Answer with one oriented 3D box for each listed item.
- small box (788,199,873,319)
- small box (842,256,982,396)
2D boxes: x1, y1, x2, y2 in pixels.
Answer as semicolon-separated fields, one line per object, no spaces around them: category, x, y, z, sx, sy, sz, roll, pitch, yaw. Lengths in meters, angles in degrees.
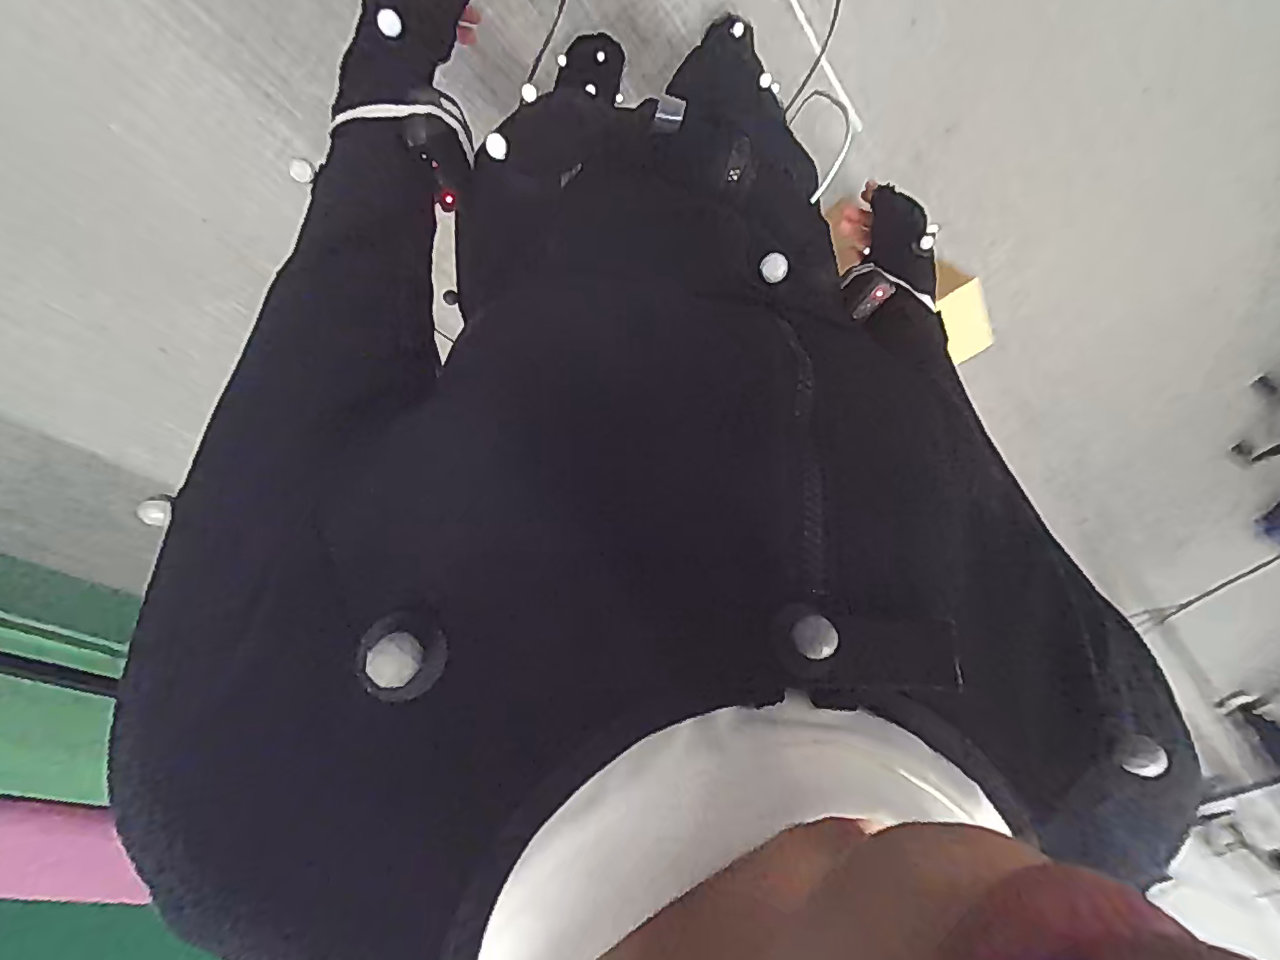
small box;0.481;-0.534;1.309;0.179;0.176;0.168;-37;131;24
small box;0.535;-0.309;1.075;0.179;0.176;0.168;-30;130;18
